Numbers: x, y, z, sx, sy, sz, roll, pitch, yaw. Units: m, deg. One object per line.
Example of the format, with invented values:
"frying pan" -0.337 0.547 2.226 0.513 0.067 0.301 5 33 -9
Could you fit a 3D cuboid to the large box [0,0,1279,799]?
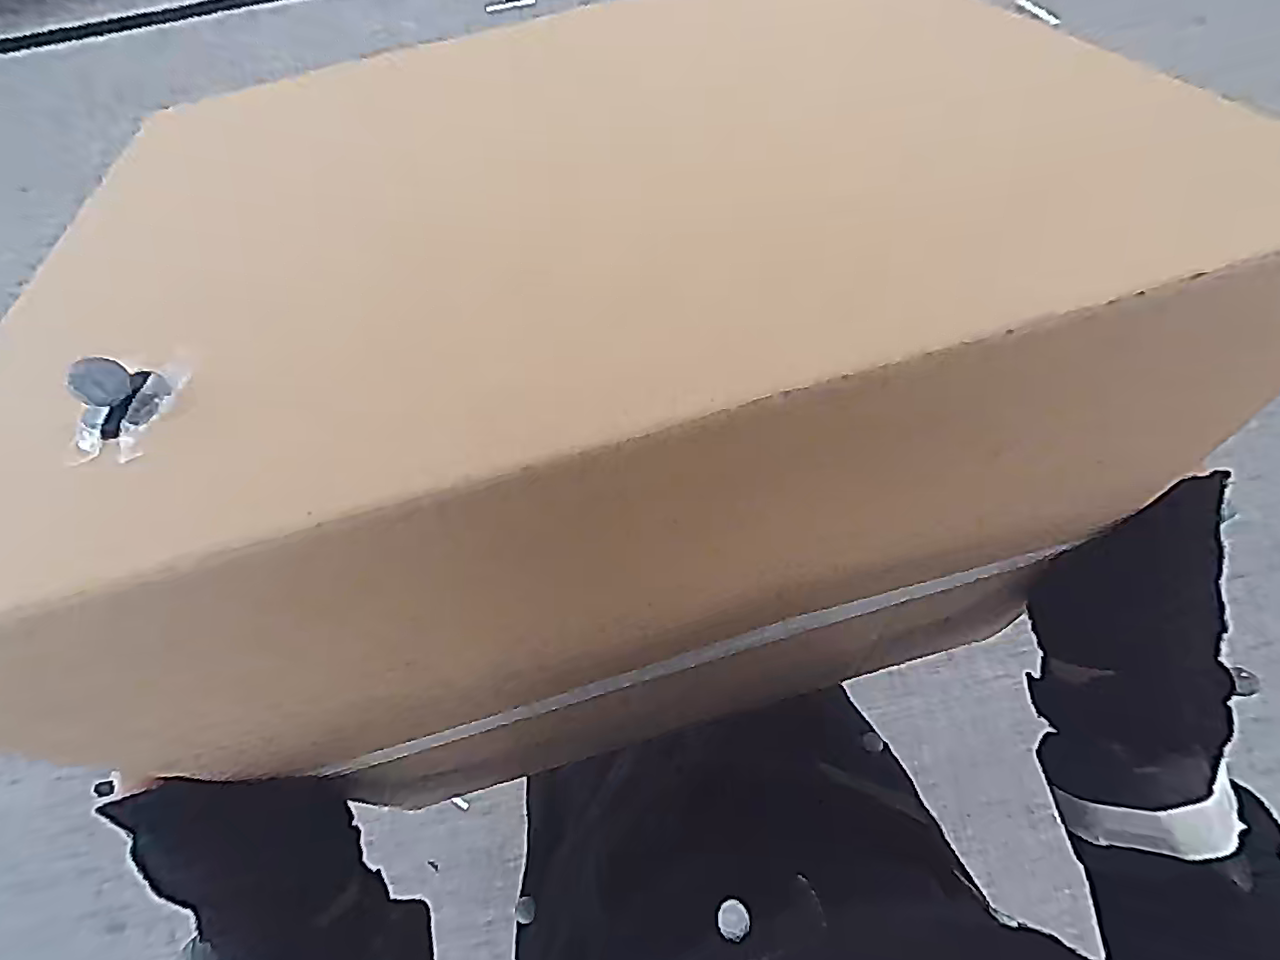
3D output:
"large box" -0.010 -0.041 0.342 0.408 0.320 0.320 -16 55 -2
